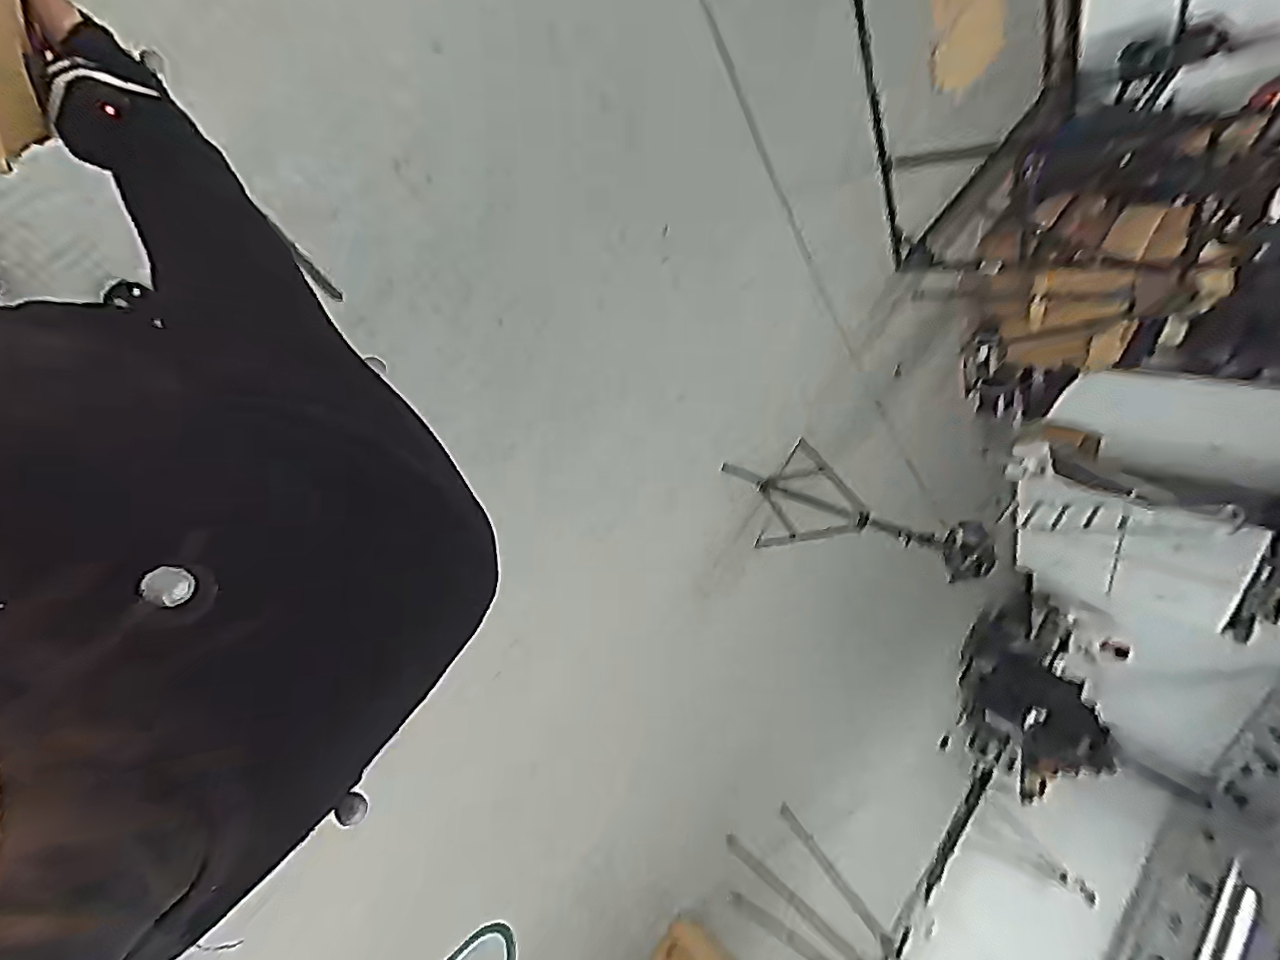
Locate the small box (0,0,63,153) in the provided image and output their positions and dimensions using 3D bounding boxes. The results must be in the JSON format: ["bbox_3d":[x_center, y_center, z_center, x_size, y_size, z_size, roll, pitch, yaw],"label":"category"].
[{"bbox_3d":[-0.526,-0.338,0.354,0.168,0.176,0.179,-14,130,-35],"label":"small box"}]
